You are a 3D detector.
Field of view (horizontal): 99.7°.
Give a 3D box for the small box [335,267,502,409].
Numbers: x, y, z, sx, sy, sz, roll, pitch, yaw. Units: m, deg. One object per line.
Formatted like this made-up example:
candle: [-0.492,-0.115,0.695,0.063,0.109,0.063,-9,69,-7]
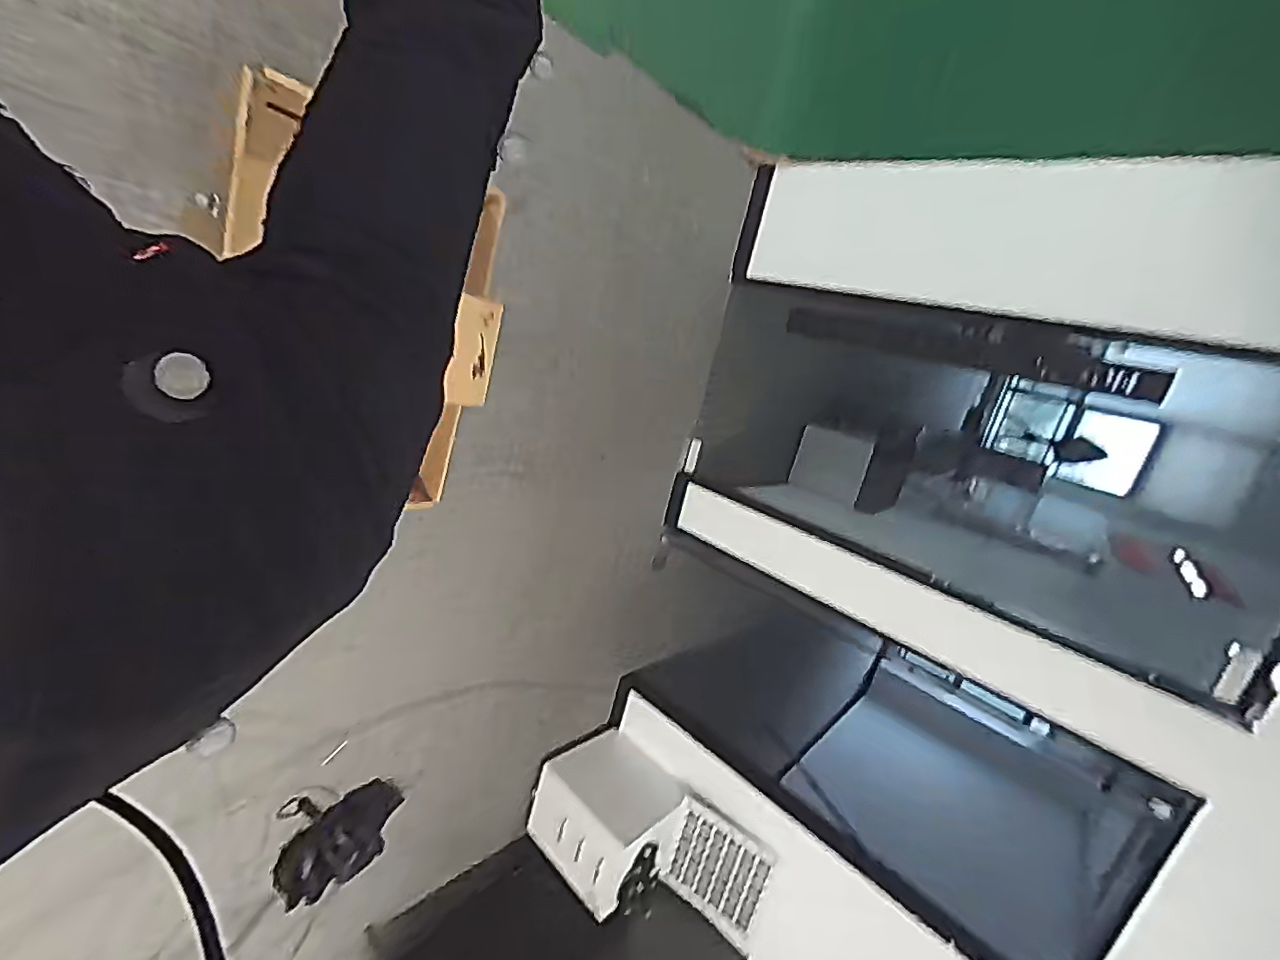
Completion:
small box: [-0.347,-0.219,0.837,0.179,0.176,0.168,-3,115,-50]
